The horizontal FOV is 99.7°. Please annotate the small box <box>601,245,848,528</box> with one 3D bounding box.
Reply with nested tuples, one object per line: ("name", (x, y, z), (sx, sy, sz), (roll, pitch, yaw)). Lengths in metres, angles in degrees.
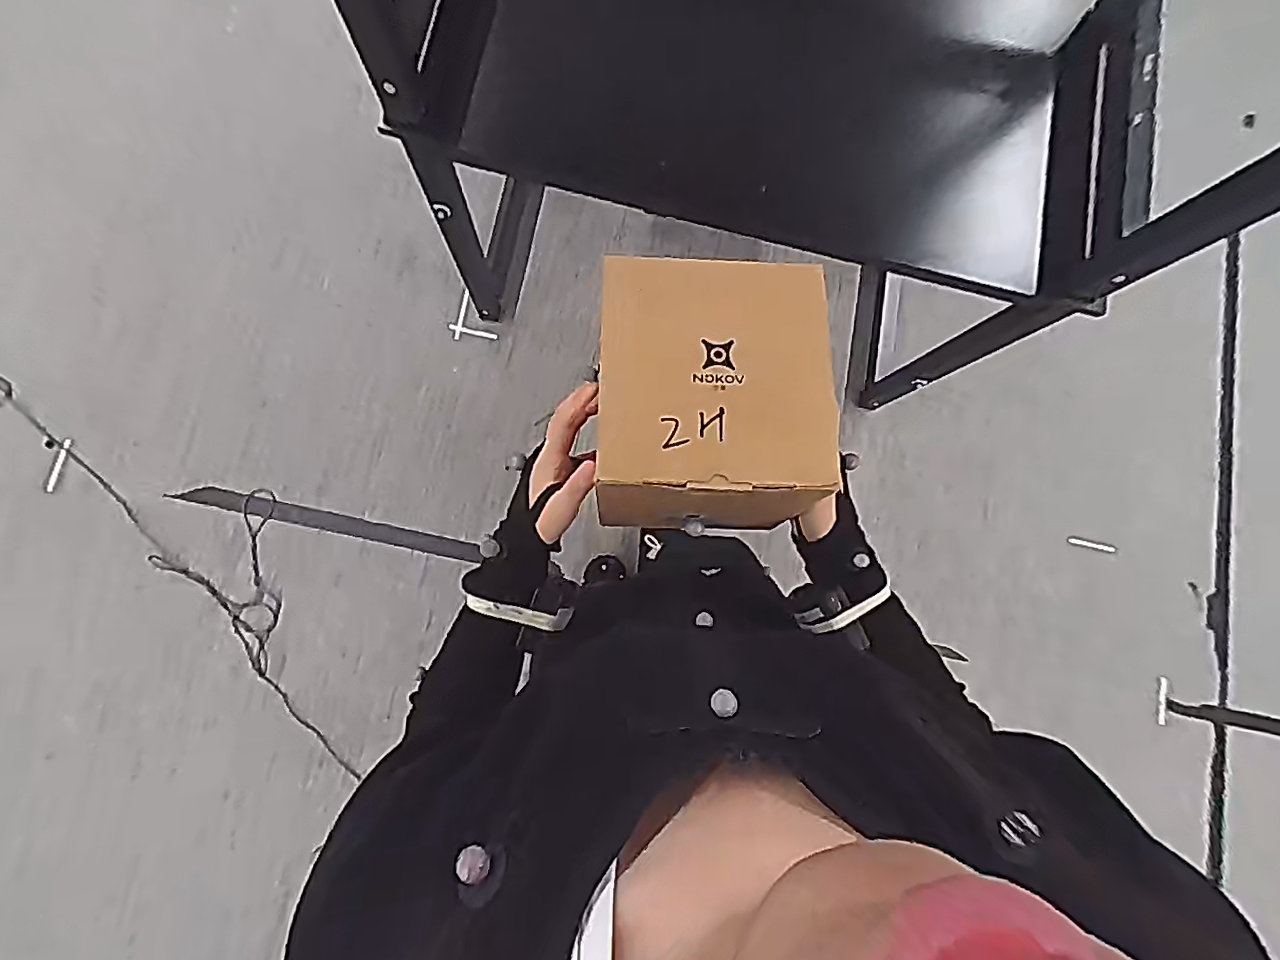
("small box", (0.053, -0.063, 0.450), (0.168, 0.176, 0.179), (2, 75, -2))
